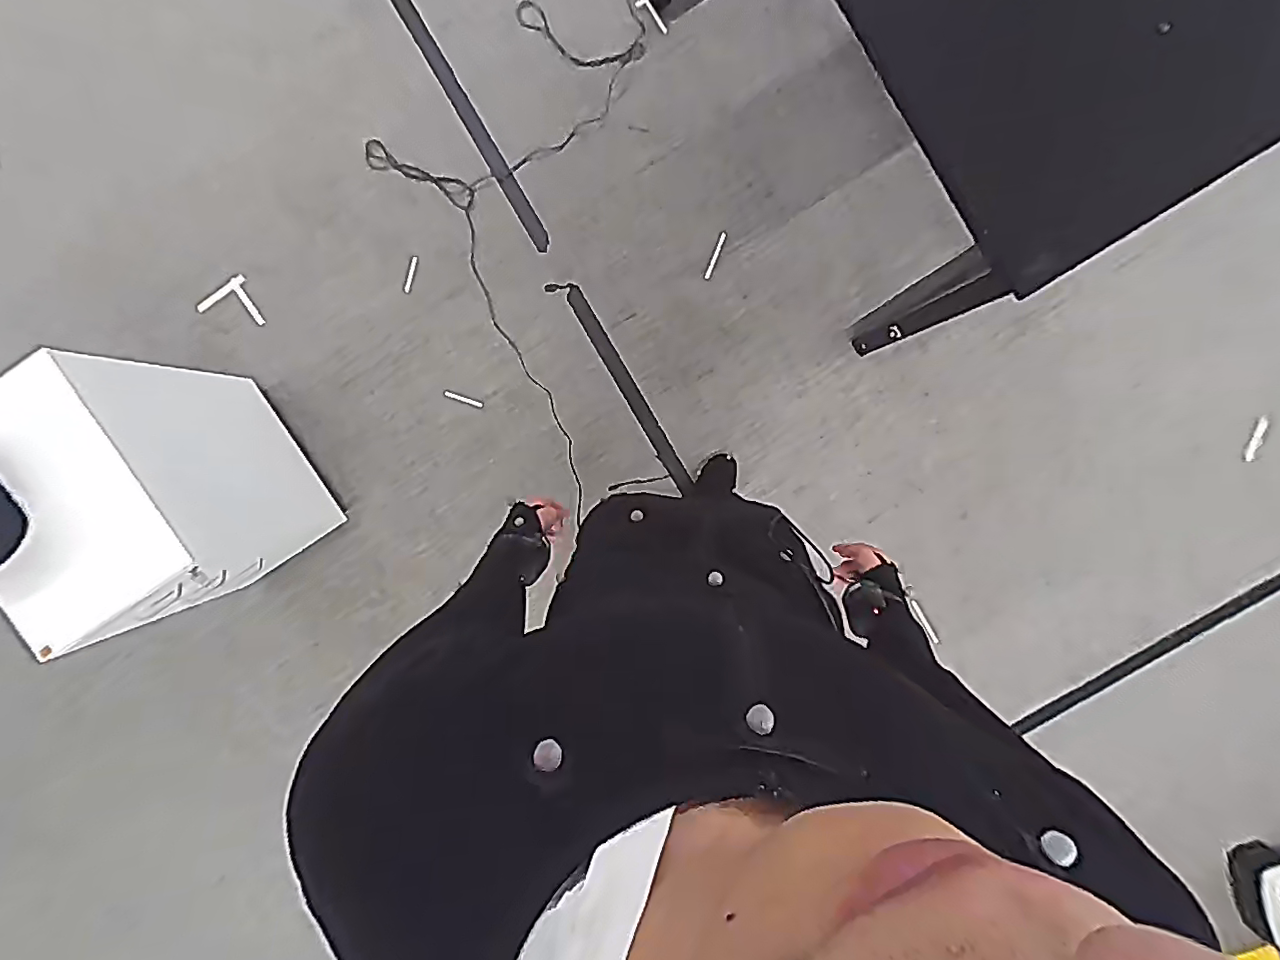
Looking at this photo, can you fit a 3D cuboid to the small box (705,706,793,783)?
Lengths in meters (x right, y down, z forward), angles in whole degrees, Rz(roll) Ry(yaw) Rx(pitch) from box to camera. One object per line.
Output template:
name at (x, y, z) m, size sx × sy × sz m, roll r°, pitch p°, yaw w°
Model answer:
small box at (0.289, 0.736, 1.431) m, size 0.179 × 0.176 × 0.168 m, roll -31°, pitch 93°, yaw 5°

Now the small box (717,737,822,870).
small box at (0.296, 0.749, 1.269) m, size 0.168 × 0.176 × 0.179 m, roll -29°, pitch 93°, yaw 4°
